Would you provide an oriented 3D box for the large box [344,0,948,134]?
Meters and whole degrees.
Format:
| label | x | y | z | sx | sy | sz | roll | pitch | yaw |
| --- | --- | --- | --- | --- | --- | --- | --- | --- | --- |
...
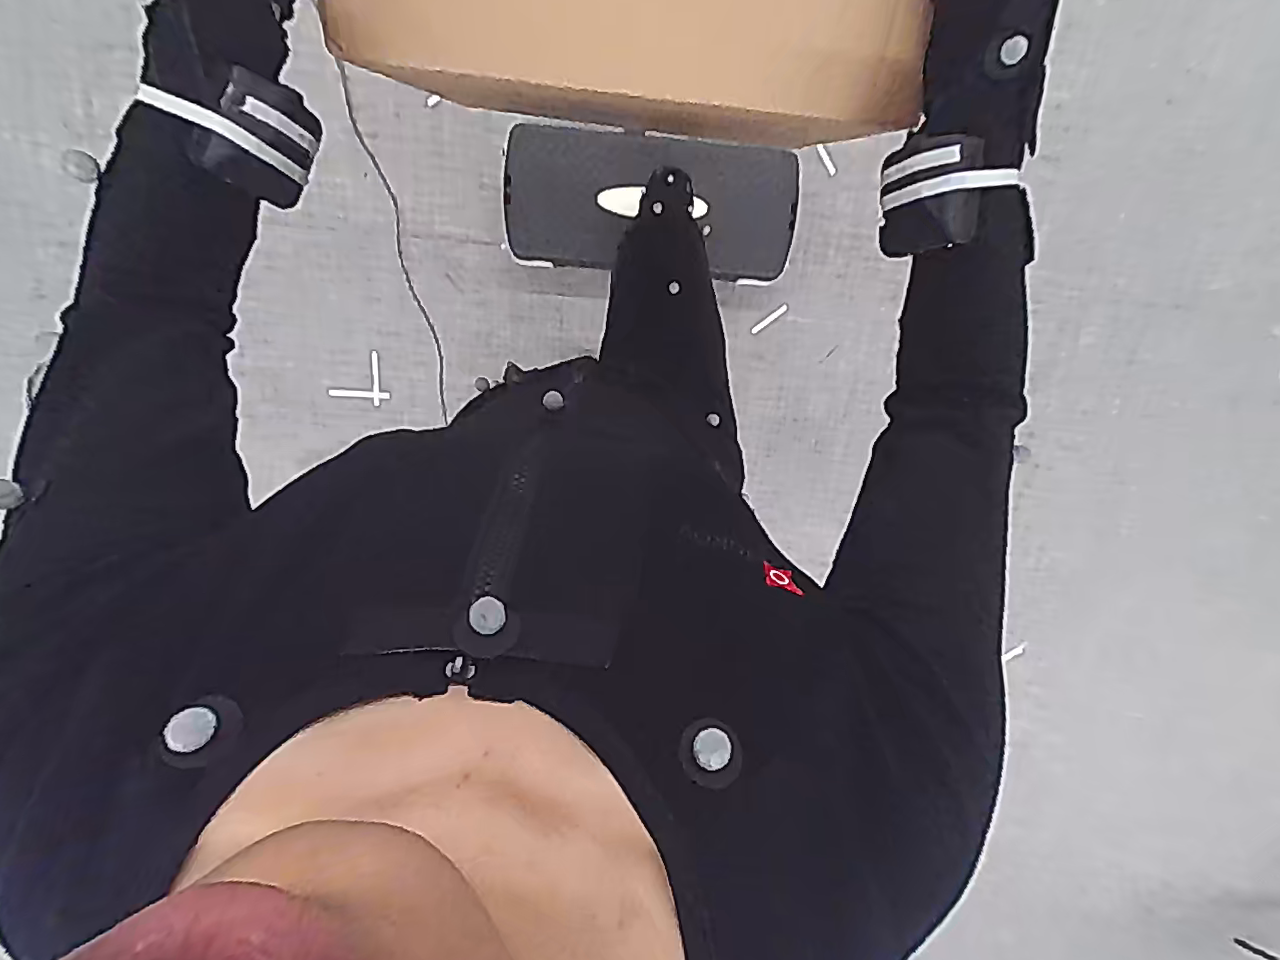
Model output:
| label | x | y | z | sx | sy | sz | roll | pitch | yaw |
| --- | --- | --- | --- | --- | --- | --- | --- | --- | --- |
| large box | 0.011 | -0.484 | 0.429 | 0.408 | 0.320 | 0.320 | 4 | 120 | -4 |
